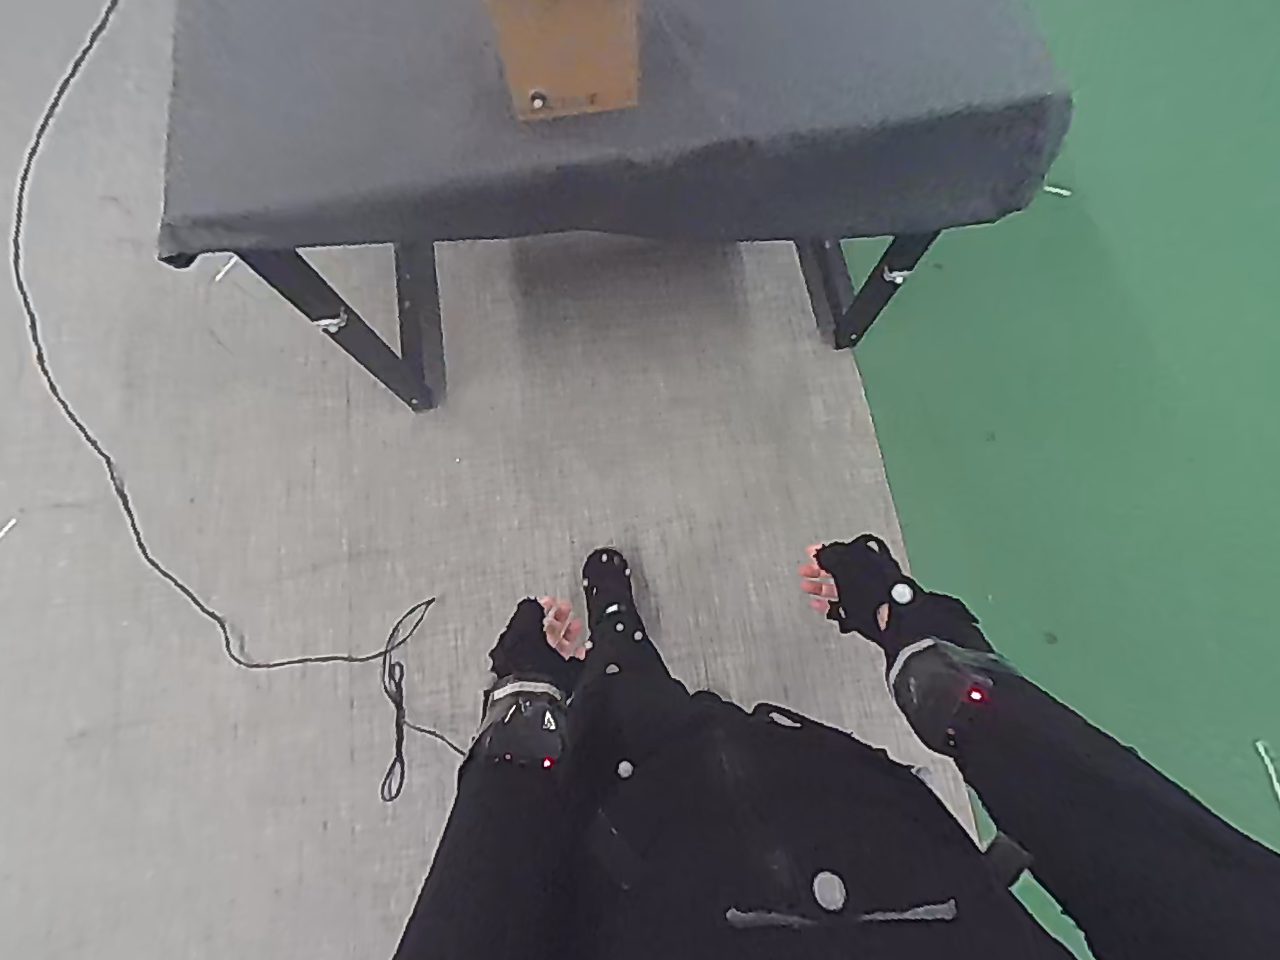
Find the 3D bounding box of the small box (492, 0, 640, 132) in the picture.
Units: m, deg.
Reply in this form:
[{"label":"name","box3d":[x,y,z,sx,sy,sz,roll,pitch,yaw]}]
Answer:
[{"label":"small box","box3d":[-0.096,-0.583,0.696,0.168,0.176,0.179,-11,76,-2]}]
